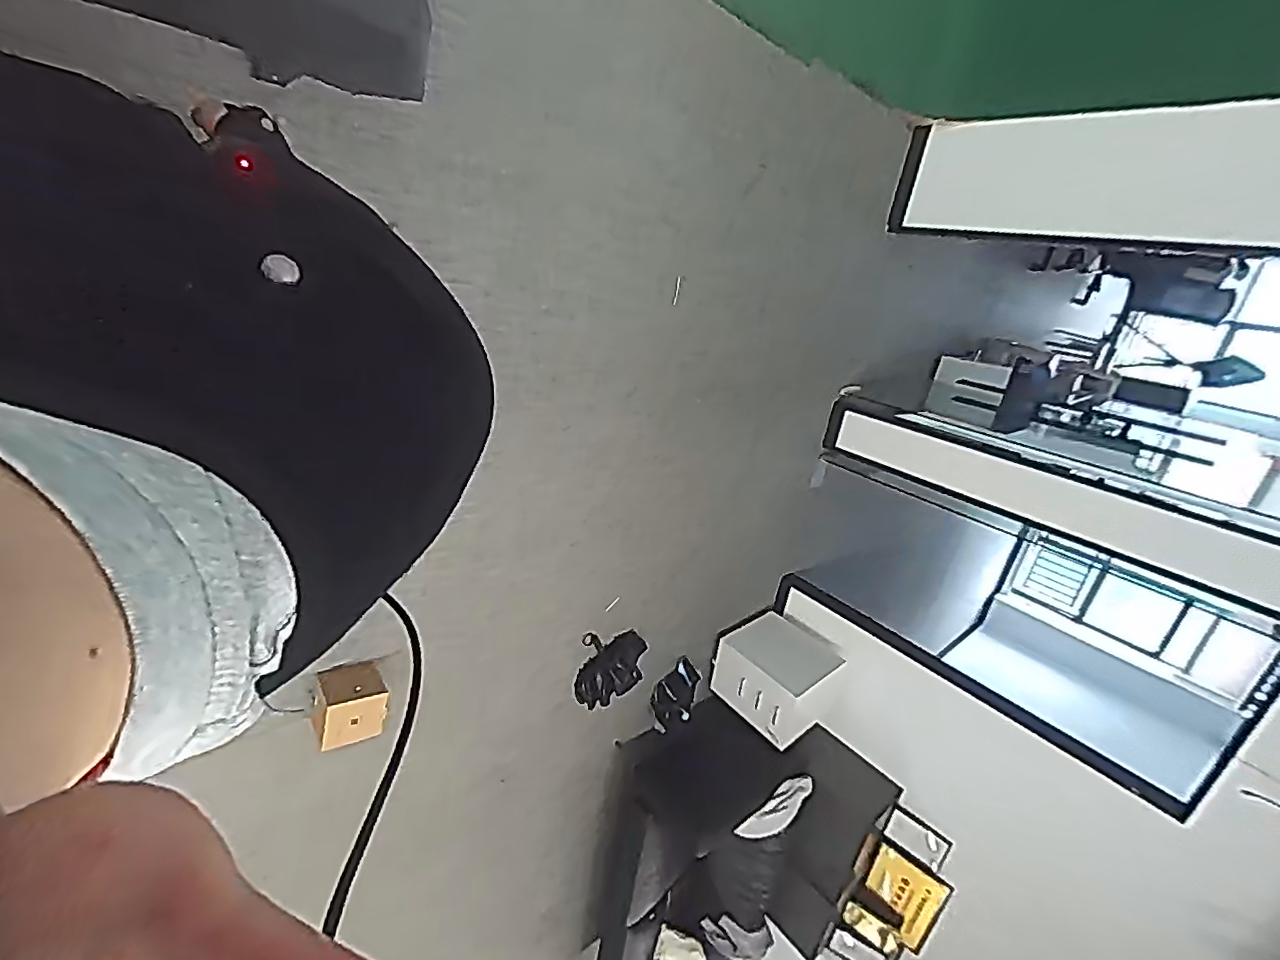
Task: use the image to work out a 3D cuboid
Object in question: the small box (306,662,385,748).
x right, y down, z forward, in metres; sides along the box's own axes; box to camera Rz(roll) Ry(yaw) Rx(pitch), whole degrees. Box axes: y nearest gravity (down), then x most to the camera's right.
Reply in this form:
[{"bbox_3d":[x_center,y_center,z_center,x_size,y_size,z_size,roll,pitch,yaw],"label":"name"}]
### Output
[{"bbox_3d":[-0.938,0.705,1.718,0.179,0.176,0.168,2,110,-43],"label":"small box"}]
